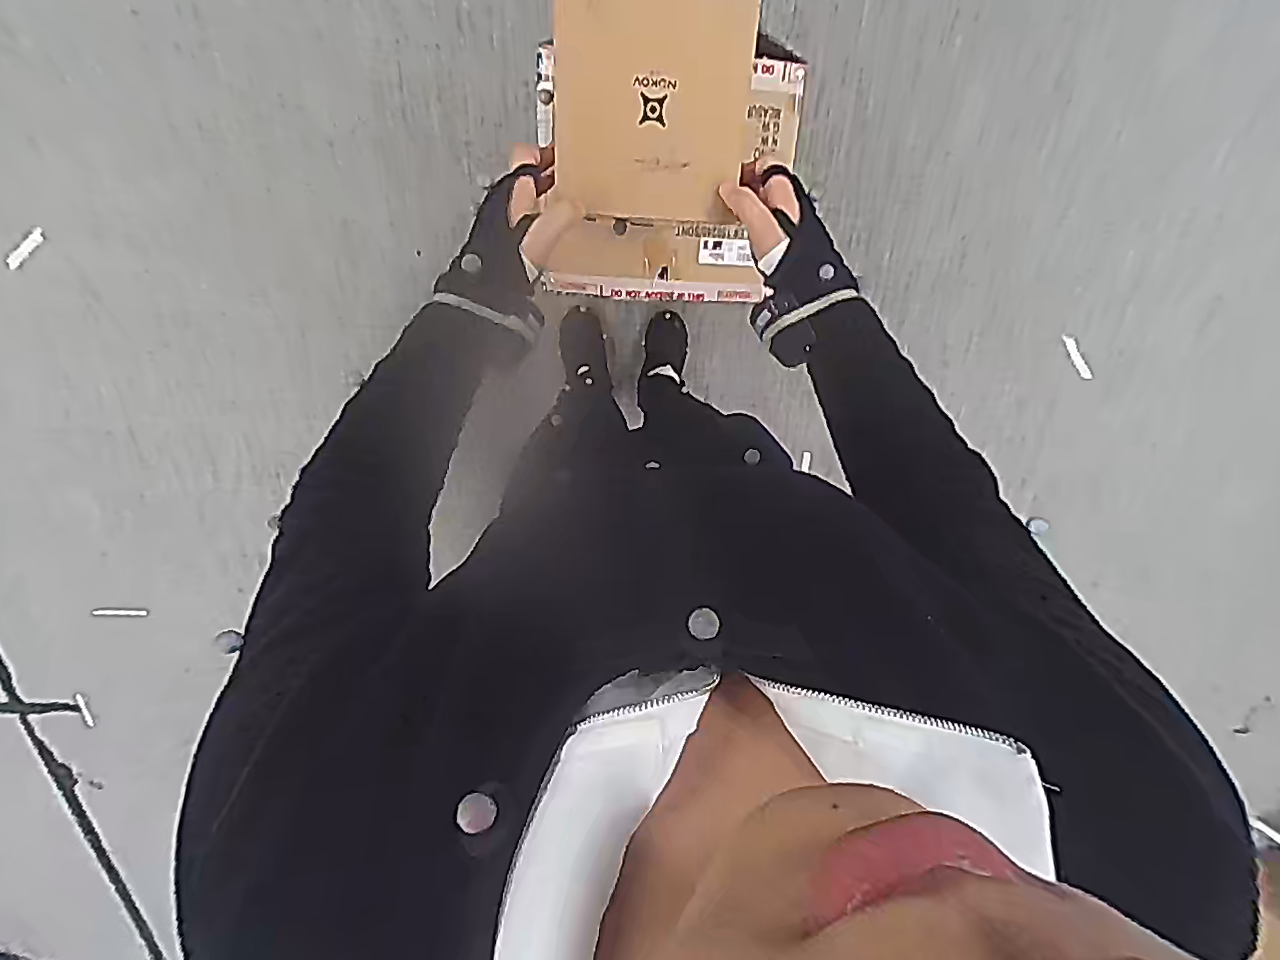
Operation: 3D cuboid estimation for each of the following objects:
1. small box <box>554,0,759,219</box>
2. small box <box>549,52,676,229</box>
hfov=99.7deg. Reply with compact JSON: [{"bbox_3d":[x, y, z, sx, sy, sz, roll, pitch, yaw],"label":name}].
[{"bbox_3d":[0.001,-0.353,0.521,0.168,0.176,0.179,-1,117,-7],"label":"small box"},{"bbox_3d":[-0.025,-0.441,0.723,0.168,0.176,0.179,5,115,-3],"label":"small box"}]
